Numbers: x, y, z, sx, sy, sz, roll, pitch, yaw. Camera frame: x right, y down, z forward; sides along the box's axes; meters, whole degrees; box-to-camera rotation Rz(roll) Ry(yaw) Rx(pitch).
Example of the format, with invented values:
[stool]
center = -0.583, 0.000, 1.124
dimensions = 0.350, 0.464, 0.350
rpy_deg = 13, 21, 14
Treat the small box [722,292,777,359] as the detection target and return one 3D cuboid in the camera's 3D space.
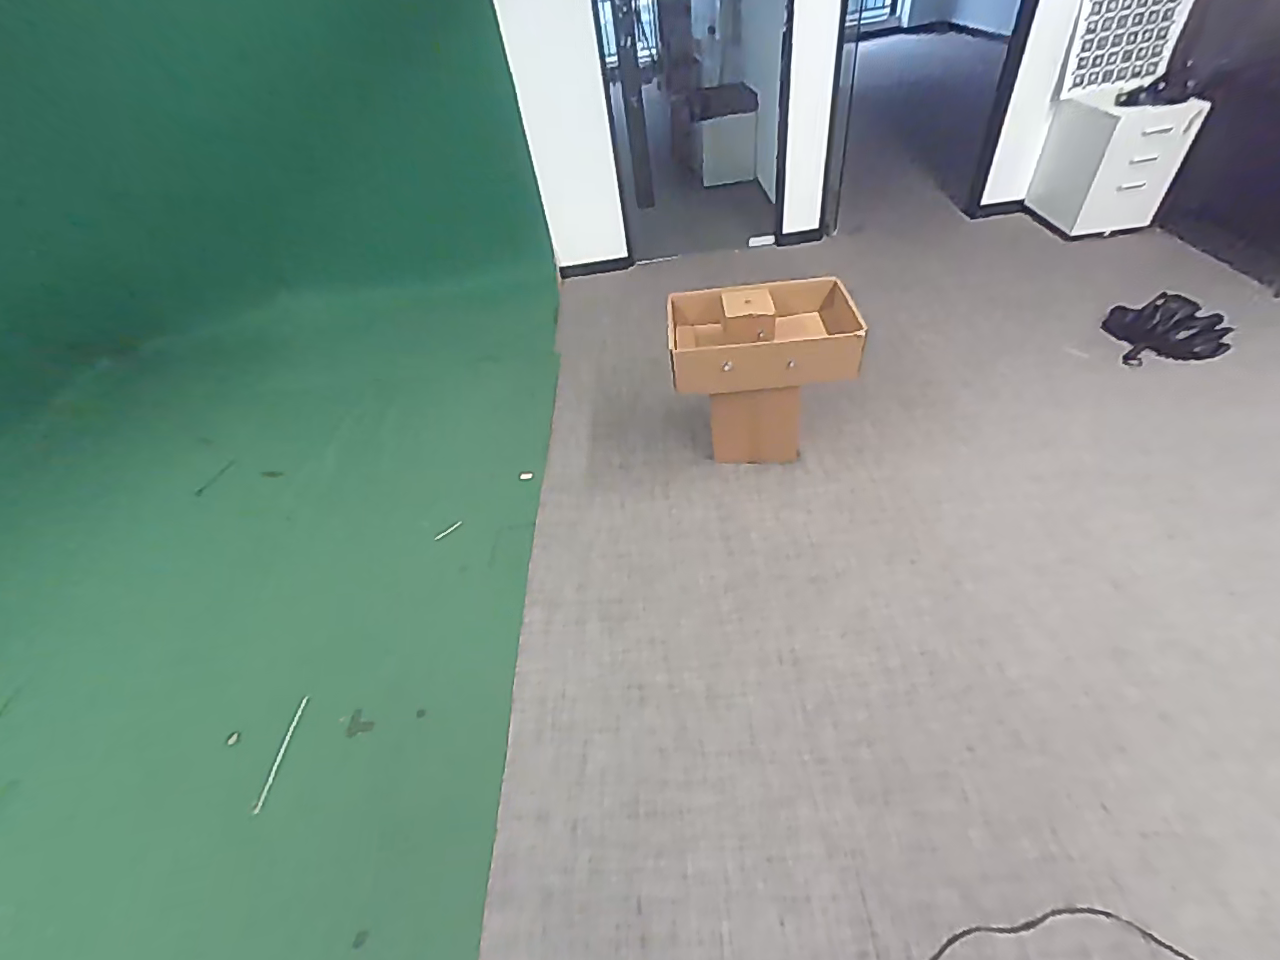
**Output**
[small box]
center = 0.377, -0.534, 1.882
dimensions = 0.168, 0.176, 0.179
rpy_deg = -3, 43, 4
